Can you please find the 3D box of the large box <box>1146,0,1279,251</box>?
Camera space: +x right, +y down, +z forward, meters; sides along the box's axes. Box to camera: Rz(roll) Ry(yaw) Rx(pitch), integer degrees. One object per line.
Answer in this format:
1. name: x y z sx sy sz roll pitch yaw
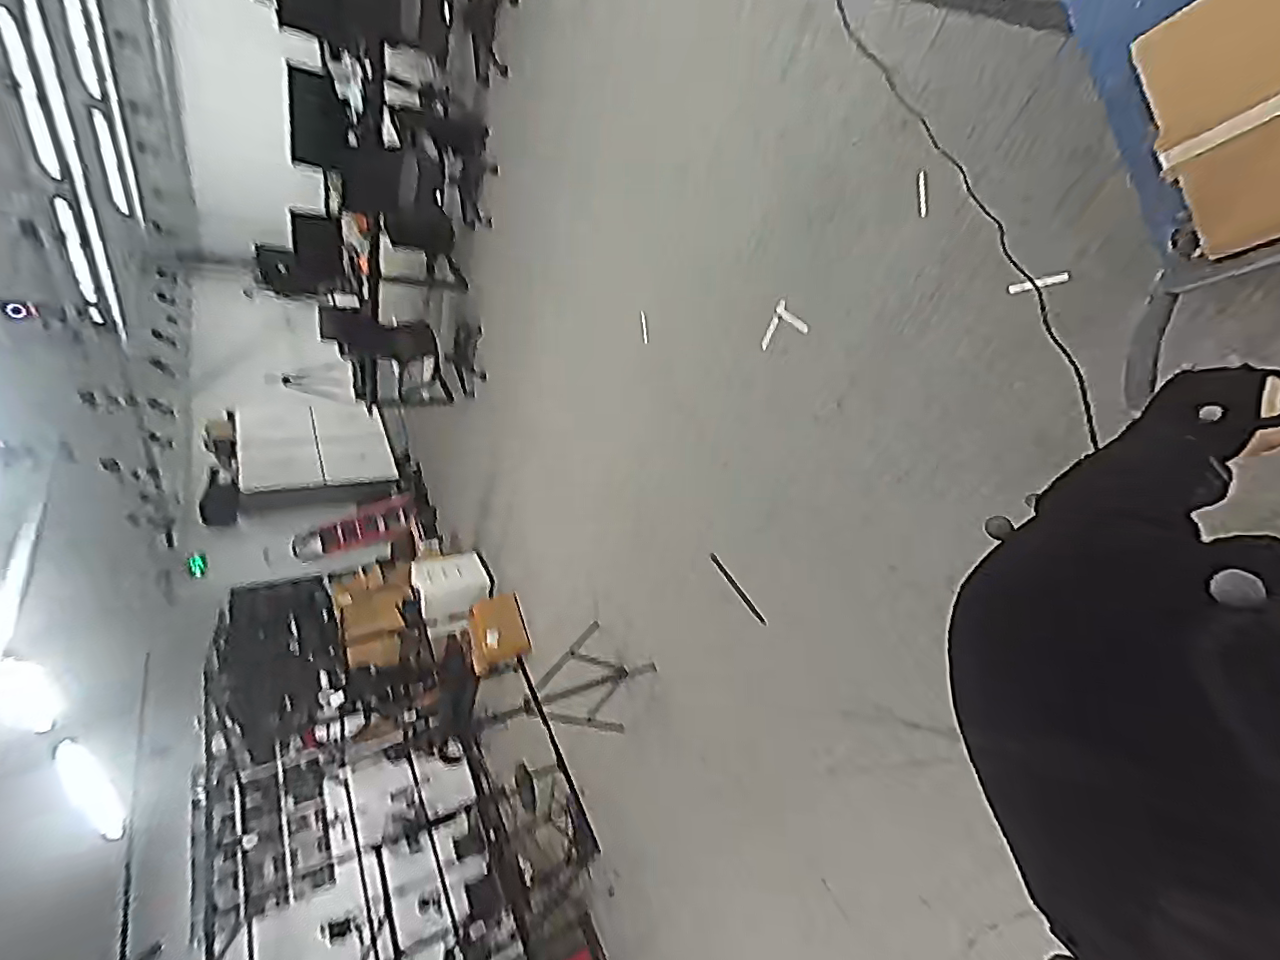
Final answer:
1. large box: 0.942 -0.547 0.644 0.408 0.320 0.320 -20 102 56
